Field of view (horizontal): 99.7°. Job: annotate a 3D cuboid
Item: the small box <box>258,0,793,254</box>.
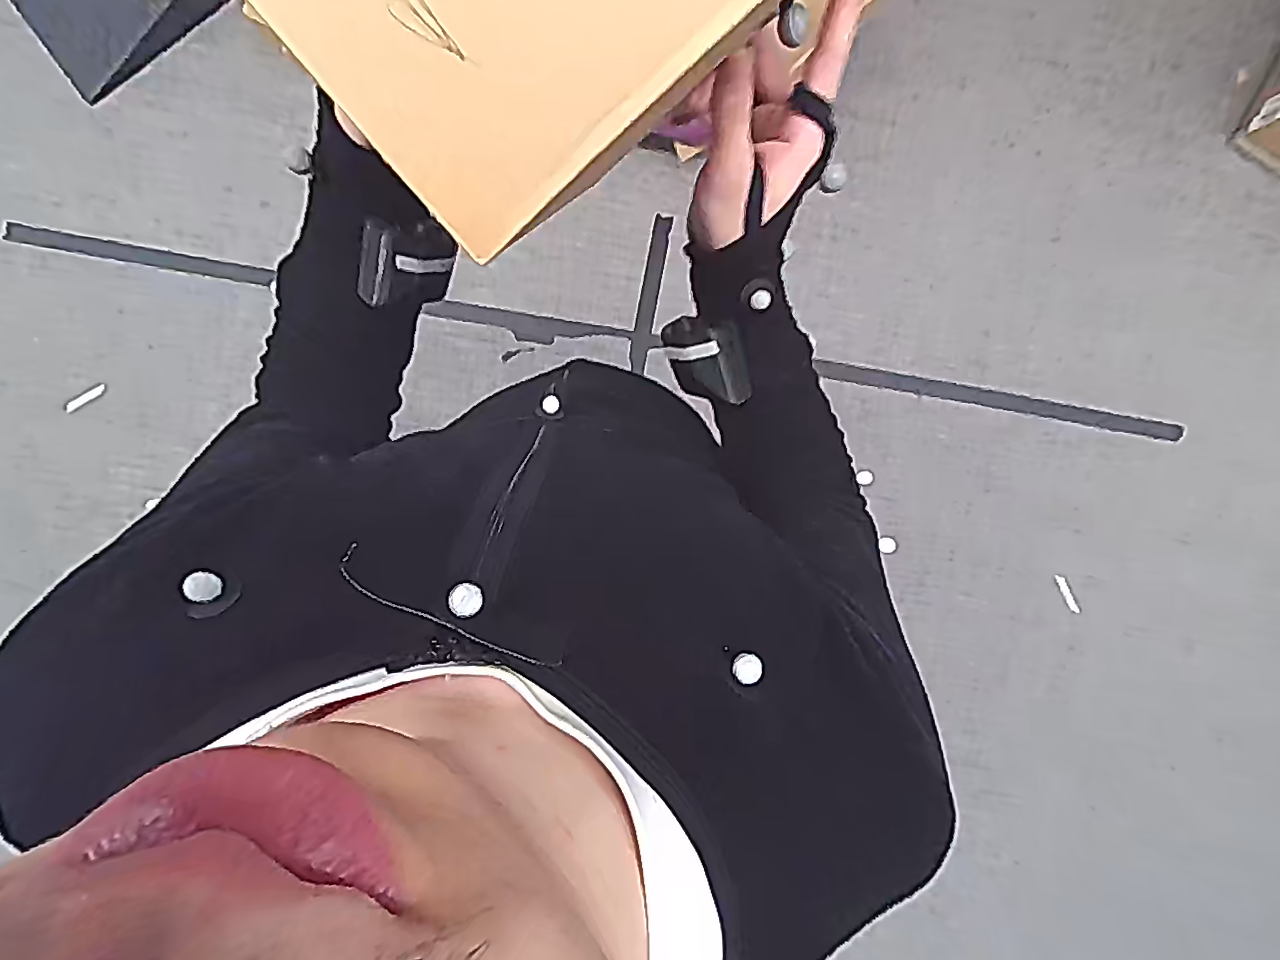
[{"bbox_3d":[-0.033,-0.228,0.208,0.179,0.176,0.168,-29,114,30],"label":"small box"}]
